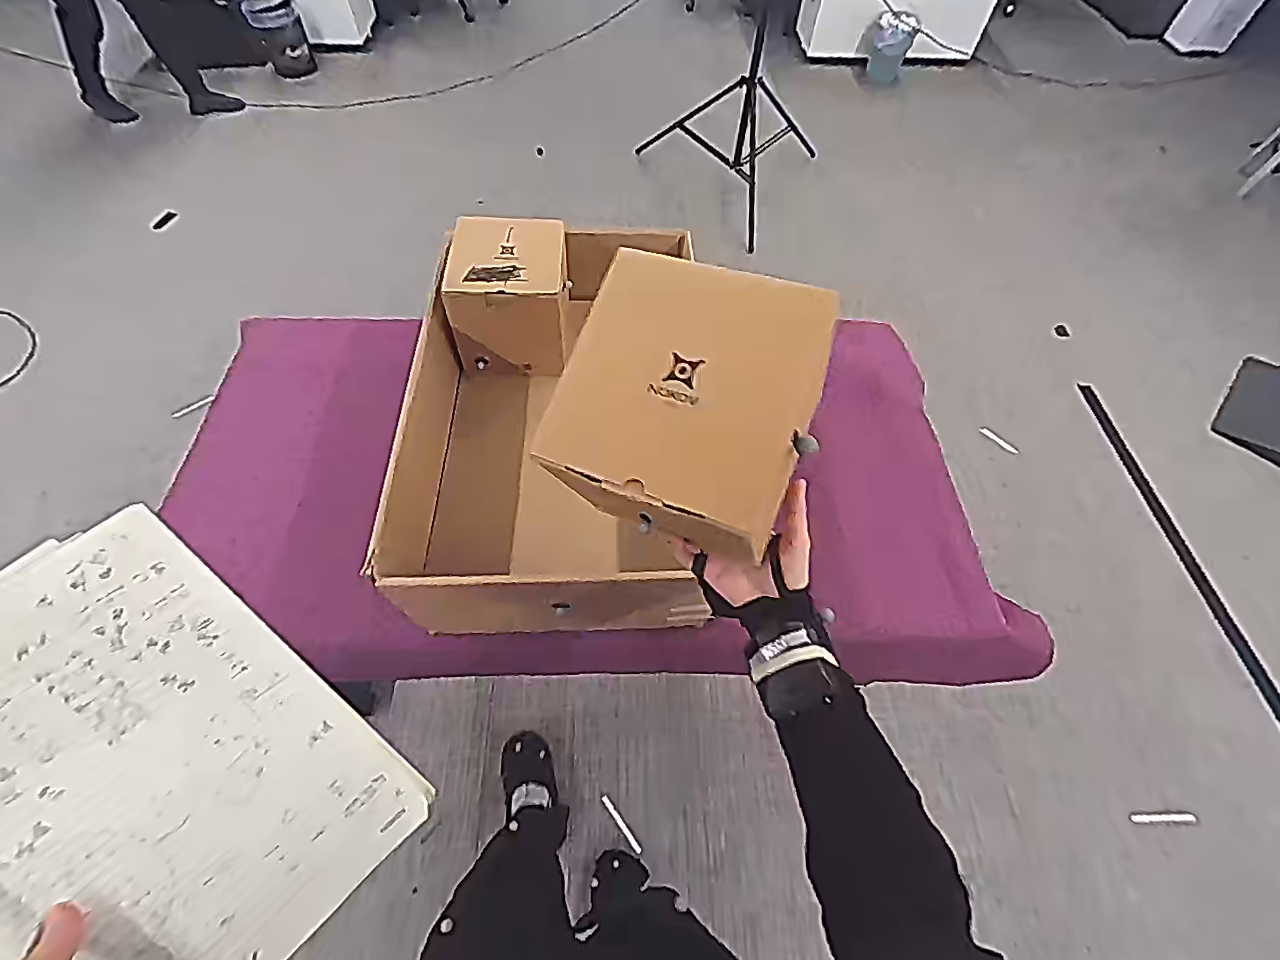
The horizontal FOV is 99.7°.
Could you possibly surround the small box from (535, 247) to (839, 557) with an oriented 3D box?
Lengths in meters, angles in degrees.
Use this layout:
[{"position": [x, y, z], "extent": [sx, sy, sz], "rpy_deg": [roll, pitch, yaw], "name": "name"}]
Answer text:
[{"position": [0.046, -0.051, 0.444], "extent": [0.168, 0.176, 0.179], "rpy_deg": [18, 80, 17], "name": "small box"}]
